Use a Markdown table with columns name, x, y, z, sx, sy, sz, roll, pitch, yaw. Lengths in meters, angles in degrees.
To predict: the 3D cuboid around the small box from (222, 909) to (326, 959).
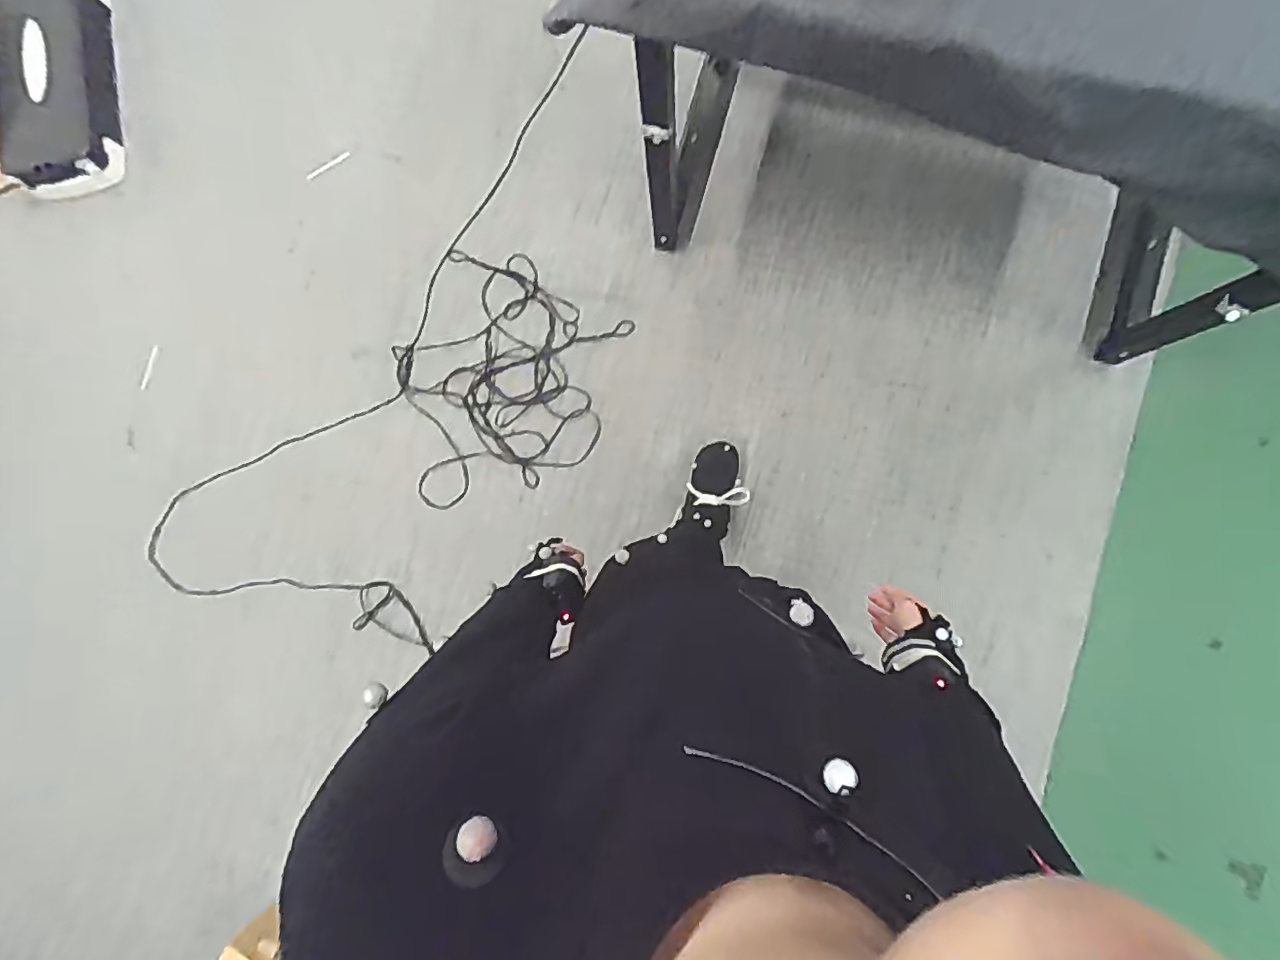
| name | x | y | z | sx | sy | sz | roll | pitch | yaw |
| --- | --- | --- | --- | --- | --- | --- | --- | --- | --- |
| small box | -0.876 | 1.166 | 1.251 | 0.168 | 0.176 | 0.179 | 27 | 87 | 7 |
